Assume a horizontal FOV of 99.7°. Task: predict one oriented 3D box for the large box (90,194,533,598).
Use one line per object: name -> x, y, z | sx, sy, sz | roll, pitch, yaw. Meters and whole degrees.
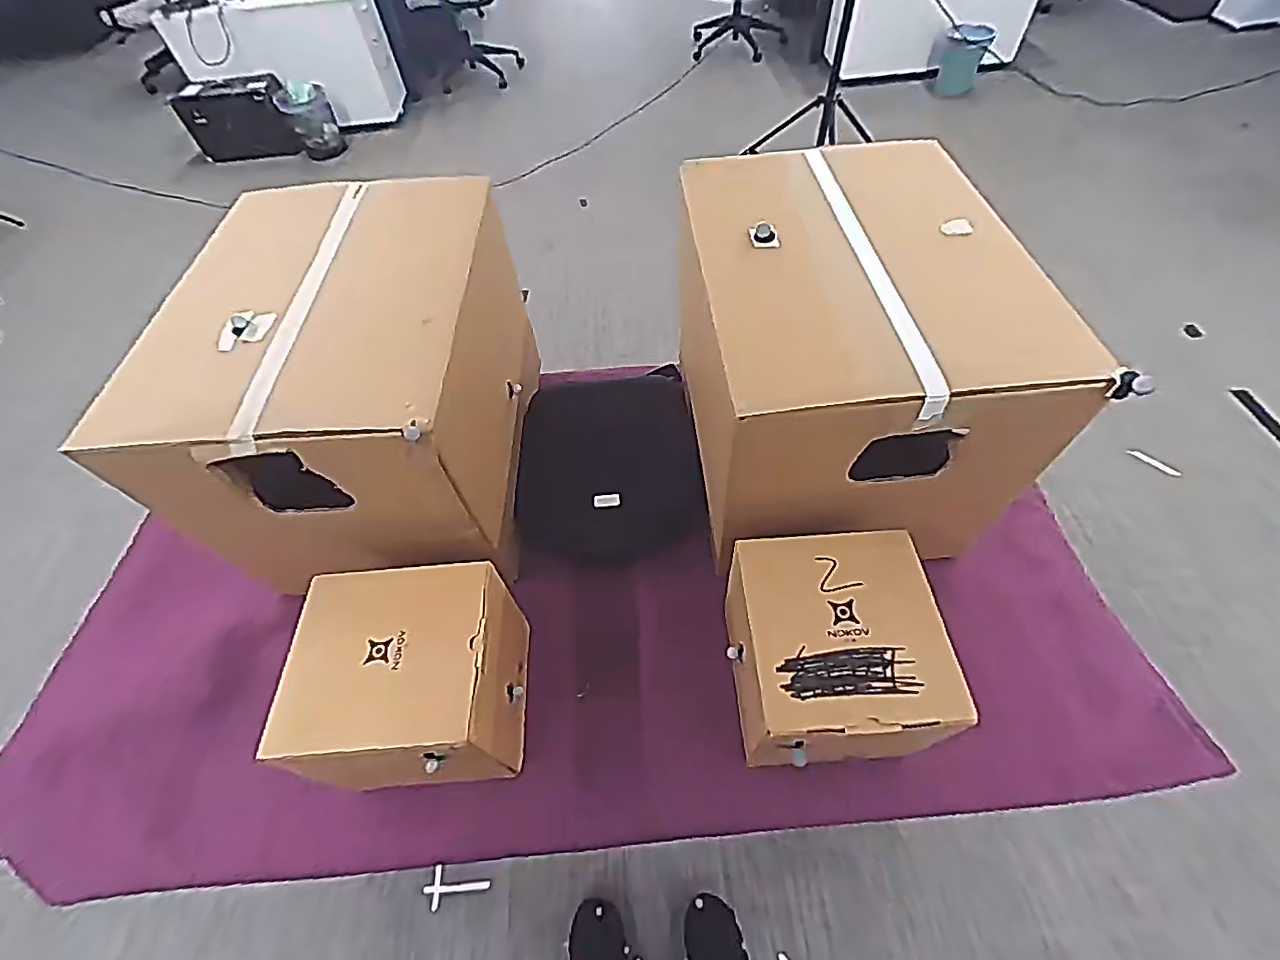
large box -> -0.324, -0.099, 0.689 | 0.320, 0.320, 0.408 | -4, 57, 2
